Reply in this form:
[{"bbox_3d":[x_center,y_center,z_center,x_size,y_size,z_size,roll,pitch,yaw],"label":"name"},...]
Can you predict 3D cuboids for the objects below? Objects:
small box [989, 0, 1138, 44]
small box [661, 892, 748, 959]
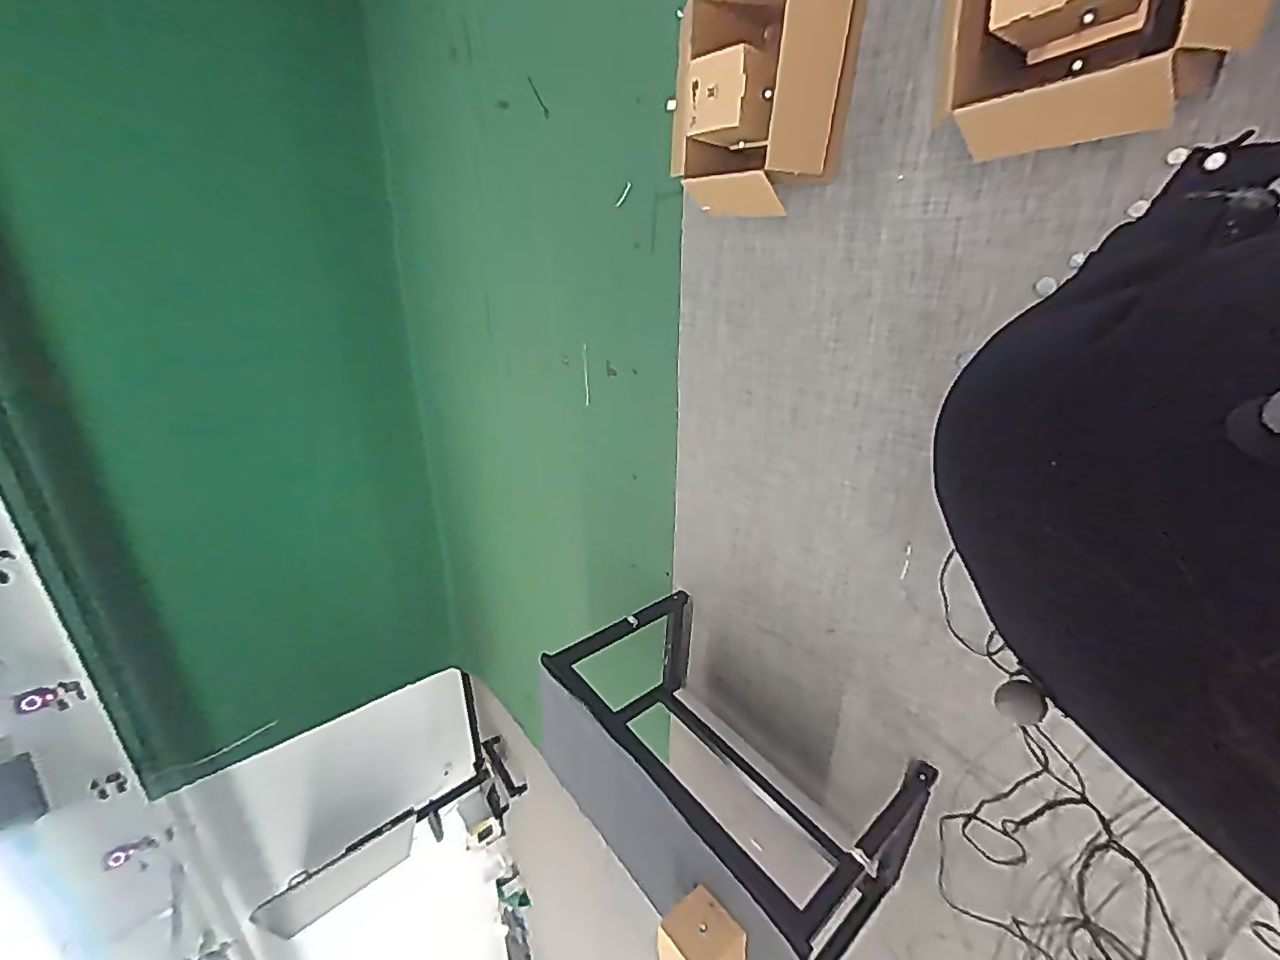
[{"bbox_3d":[0.687,-0.832,0.860,0.168,0.176,0.179,16,118,48],"label":"small box"},{"bbox_3d":[0.174,1.269,1.446,0.168,0.176,0.179,22,121,48],"label":"small box"}]
